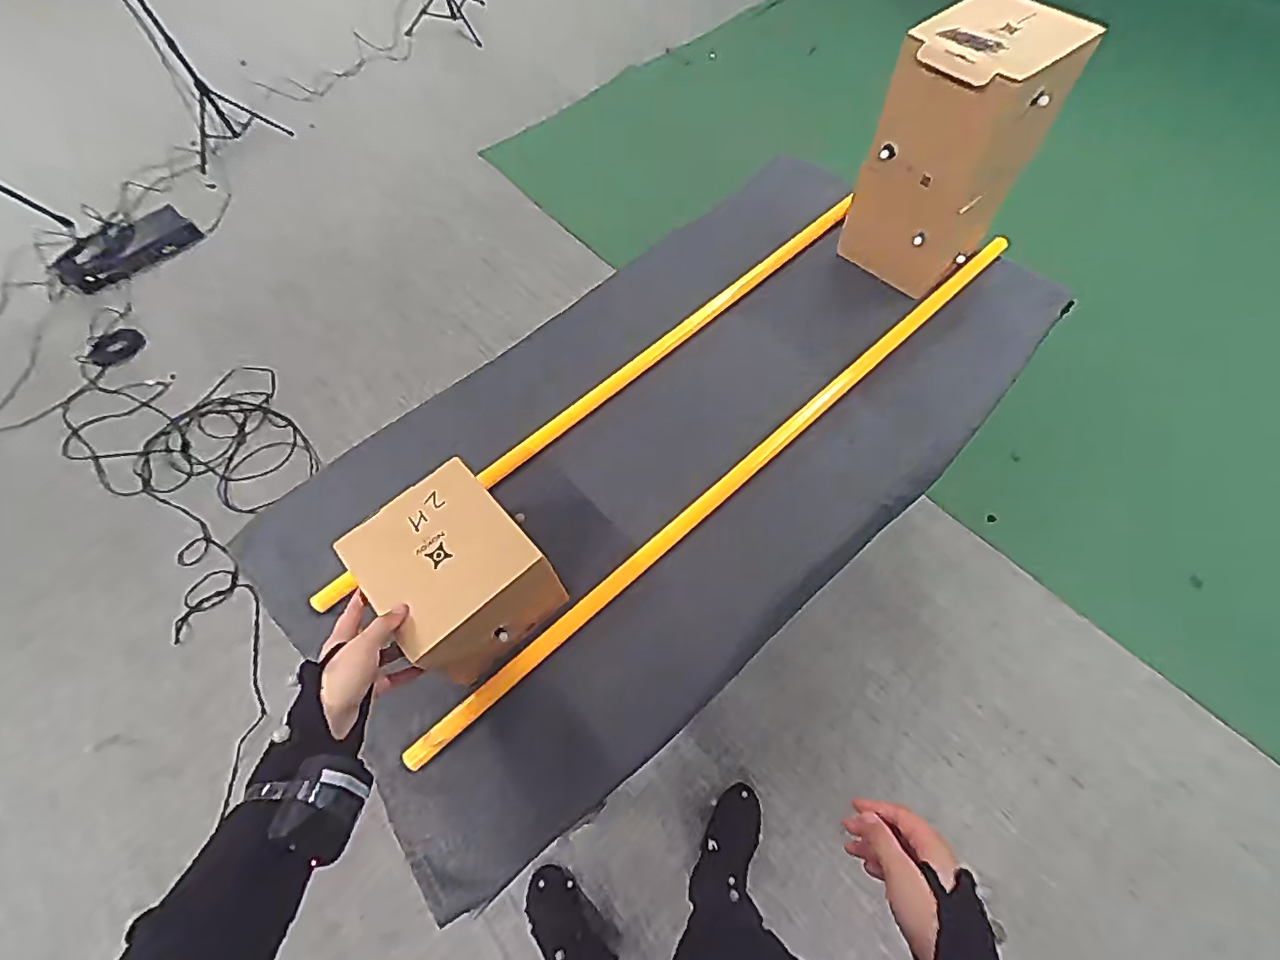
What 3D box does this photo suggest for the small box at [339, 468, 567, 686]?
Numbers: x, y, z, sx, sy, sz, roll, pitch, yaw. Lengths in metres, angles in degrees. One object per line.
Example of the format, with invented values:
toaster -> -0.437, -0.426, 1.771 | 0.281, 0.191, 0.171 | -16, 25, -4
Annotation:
small box -> -0.209, 0.125, 0.649 | 0.168, 0.176, 0.179 | -39, 66, -17

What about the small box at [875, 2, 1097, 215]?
small box -> 0.457, -0.507, 0.751 | 0.179, 0.176, 0.168 | -35, 65, -14
